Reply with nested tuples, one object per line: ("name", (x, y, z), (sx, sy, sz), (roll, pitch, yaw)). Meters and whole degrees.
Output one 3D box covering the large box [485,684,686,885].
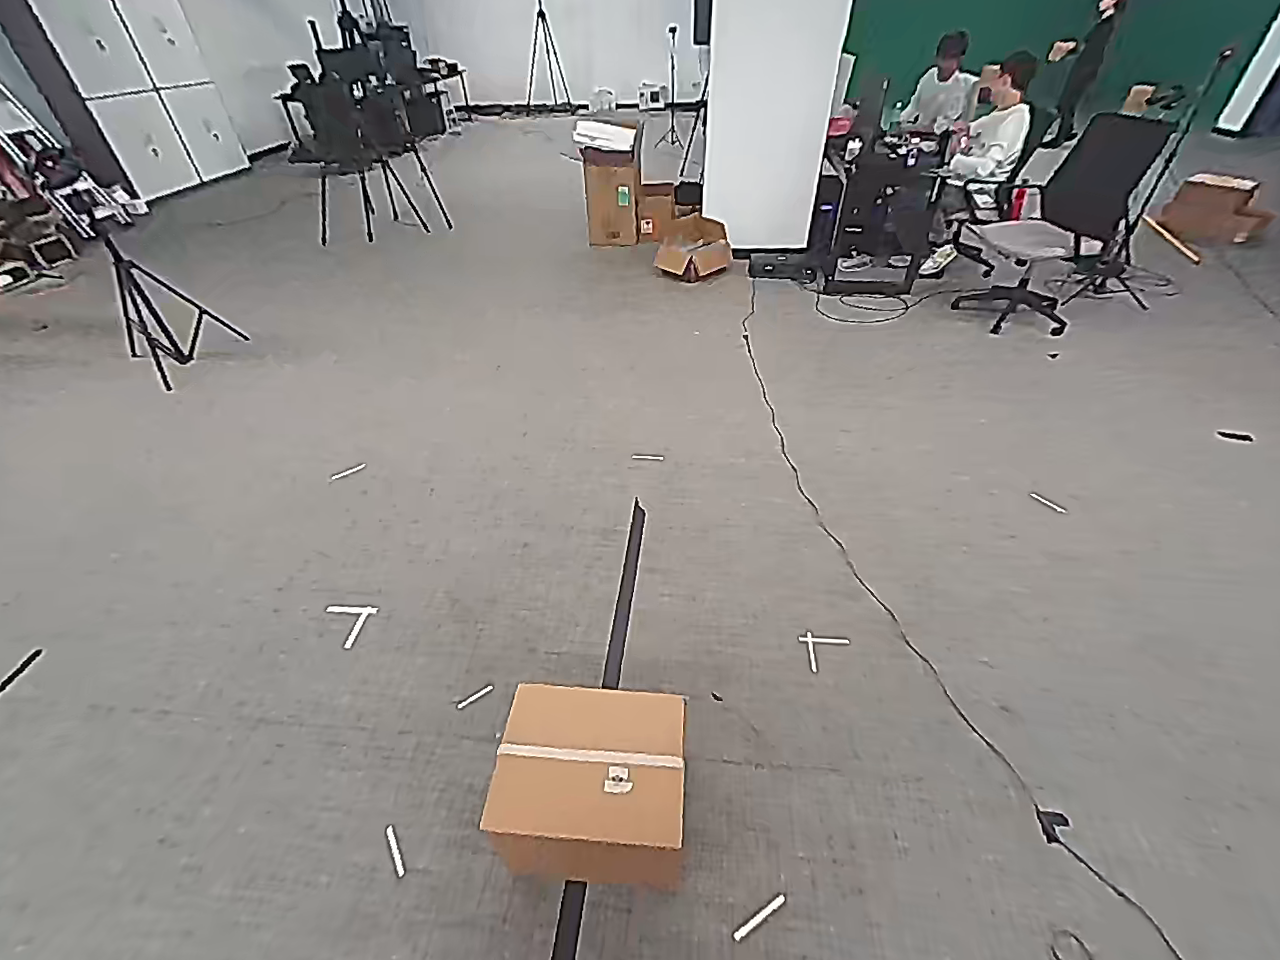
("large box", (-0.103, 0.712, 1.271), (0.408, 0.320, 0.320), (3, 41, 4))
